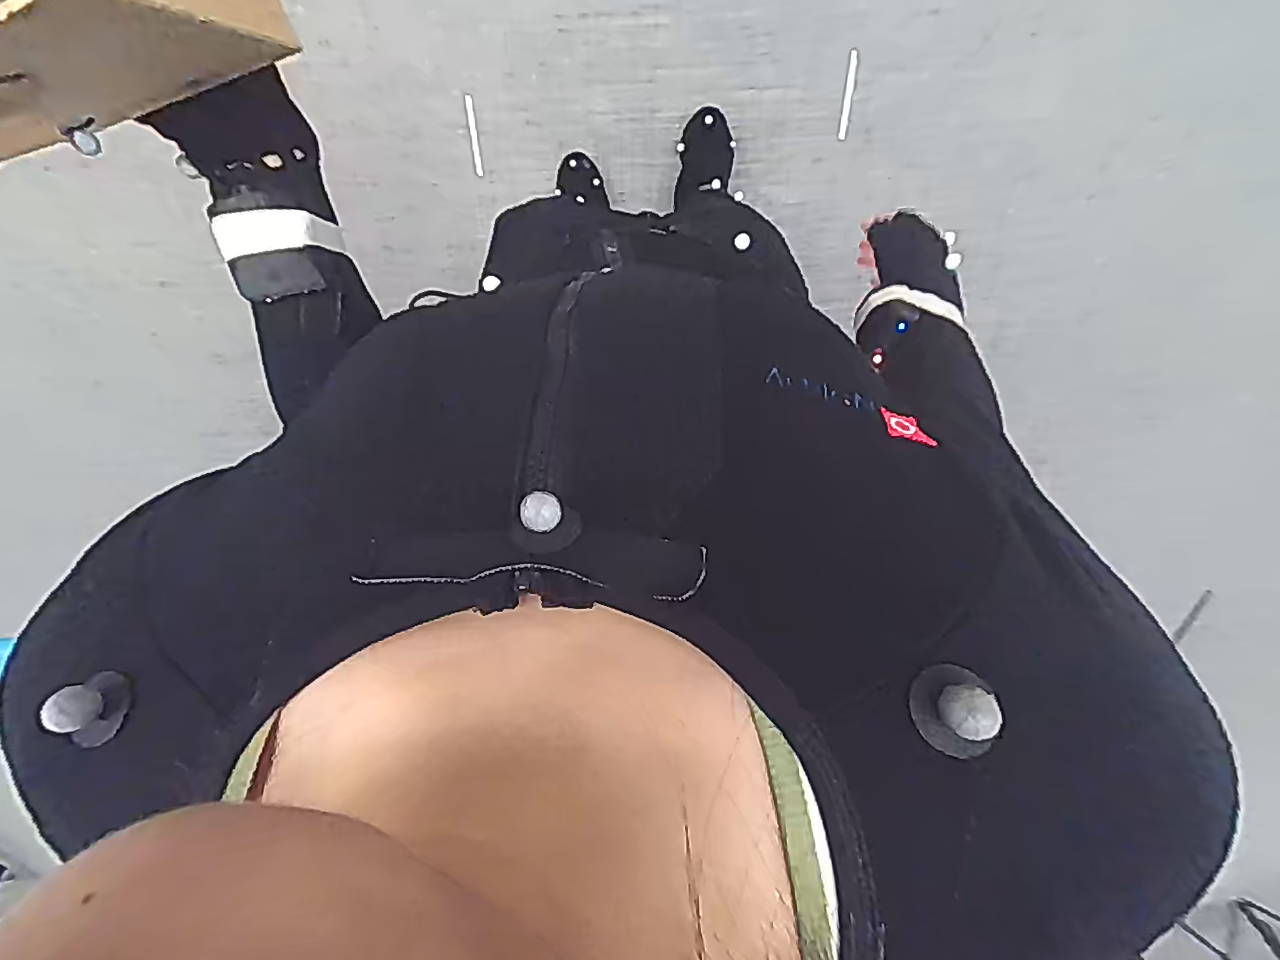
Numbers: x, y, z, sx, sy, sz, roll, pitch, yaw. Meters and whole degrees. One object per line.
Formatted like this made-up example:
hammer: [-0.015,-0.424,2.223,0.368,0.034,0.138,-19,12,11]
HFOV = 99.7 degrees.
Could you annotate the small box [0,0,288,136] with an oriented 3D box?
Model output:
small box: [-0.294,-0.255,0.215,0.168,0.176,0.179,-15,121,7]
